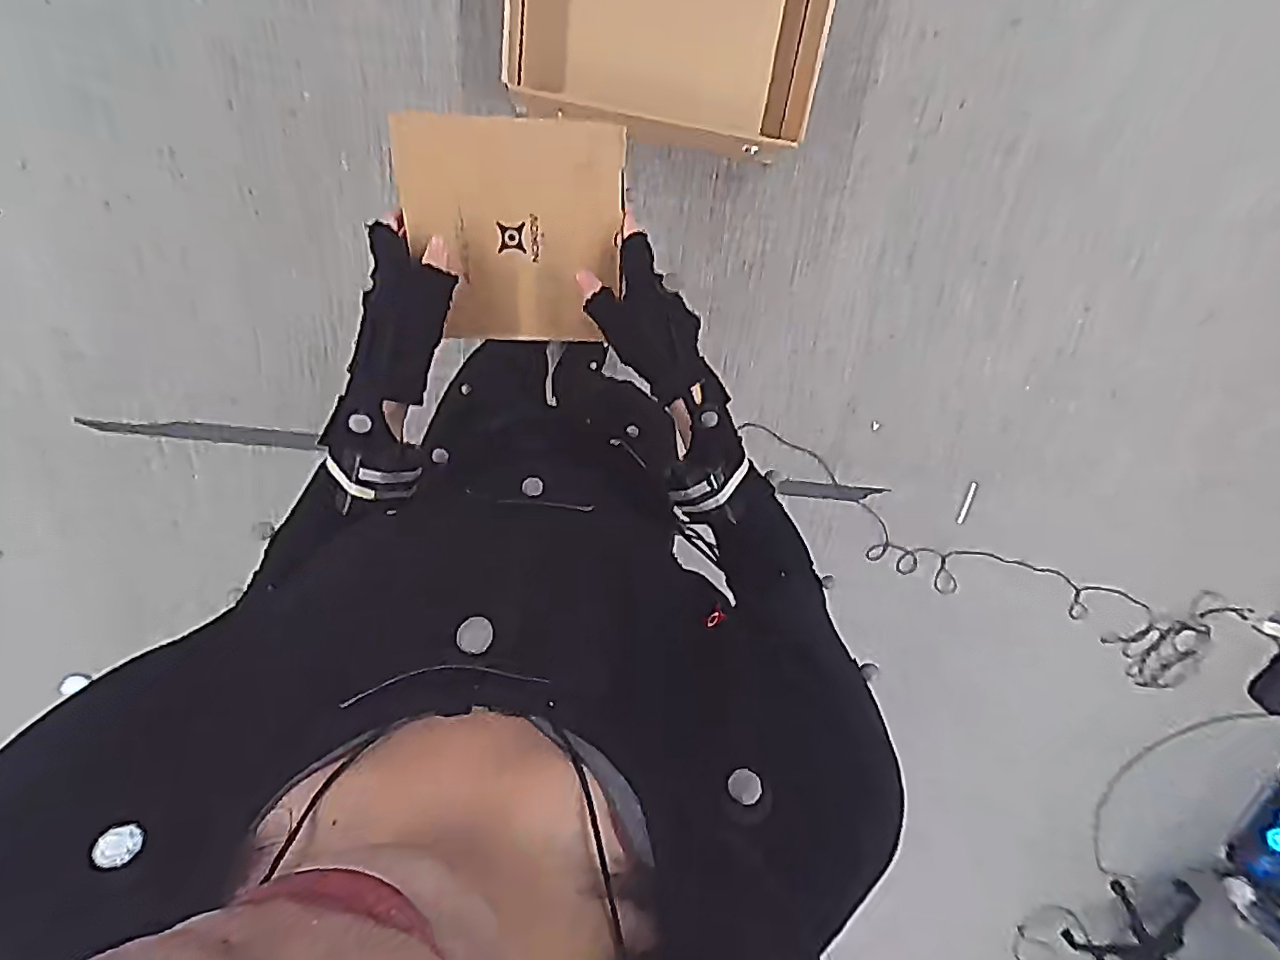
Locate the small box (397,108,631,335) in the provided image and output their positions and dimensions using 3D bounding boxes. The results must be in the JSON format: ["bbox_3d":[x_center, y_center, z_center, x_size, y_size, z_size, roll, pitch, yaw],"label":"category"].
[{"bbox_3d":[-0.100,-0.234,0.509,0.179,0.176,0.168,-1,114,-3],"label":"small box"}]
